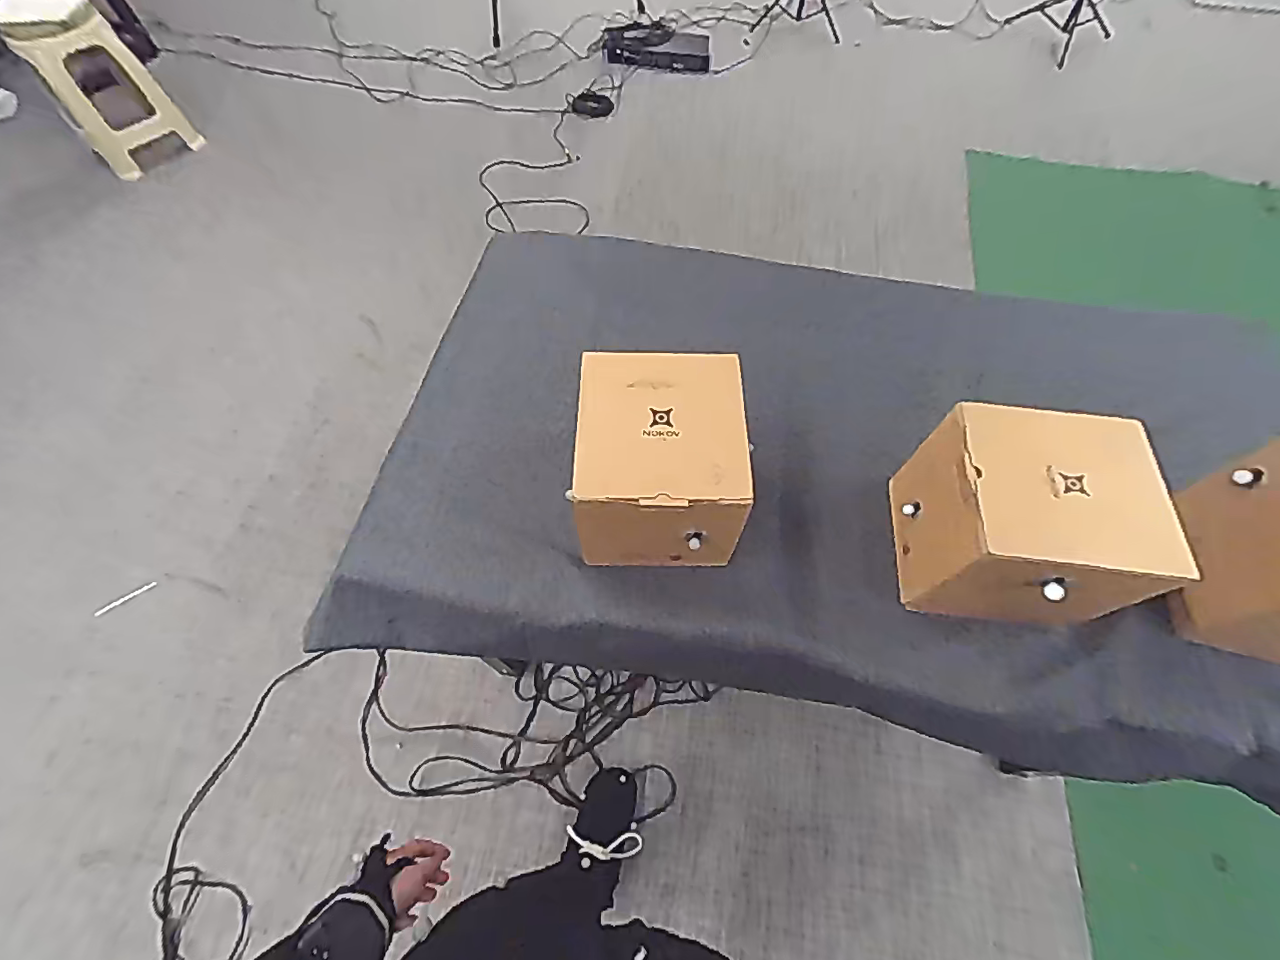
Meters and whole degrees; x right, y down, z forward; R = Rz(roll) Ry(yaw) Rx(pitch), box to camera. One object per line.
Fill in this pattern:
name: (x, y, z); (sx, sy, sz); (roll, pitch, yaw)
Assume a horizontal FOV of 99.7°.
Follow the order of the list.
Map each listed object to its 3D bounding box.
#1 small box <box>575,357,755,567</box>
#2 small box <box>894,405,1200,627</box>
small box: (0.022, -0.012, 0.591); (0.168, 0.176, 0.179); (1, 59, -2)
small box: (0.391, 0.046, 0.561); (0.179, 0.176, 0.168); (6, 60, 4)
